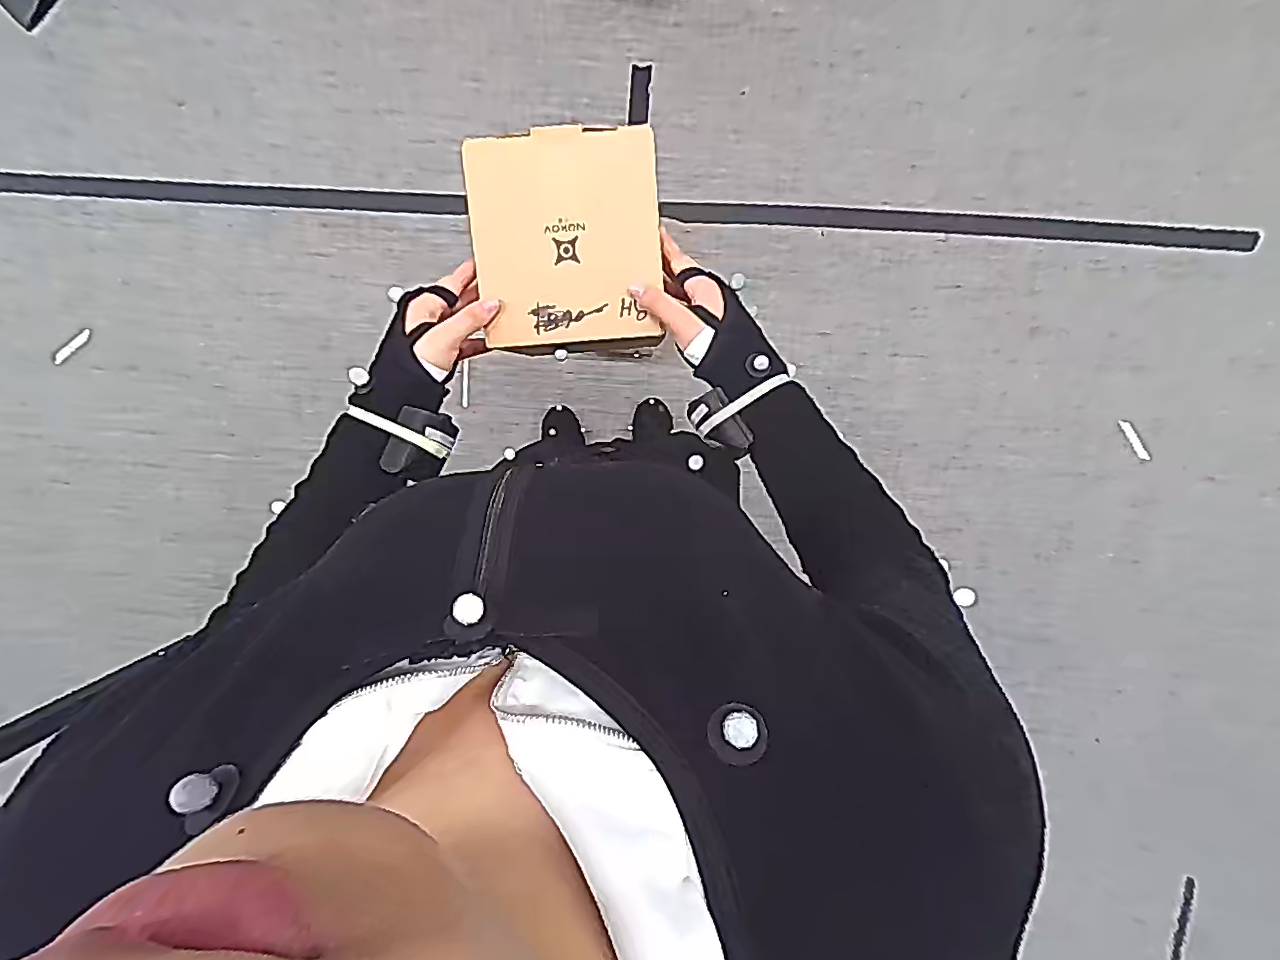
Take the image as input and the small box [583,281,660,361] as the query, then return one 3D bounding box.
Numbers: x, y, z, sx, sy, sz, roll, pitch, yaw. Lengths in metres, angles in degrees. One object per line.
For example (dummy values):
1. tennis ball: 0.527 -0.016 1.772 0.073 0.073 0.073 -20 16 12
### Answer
1. small box: -0.042 -0.394 1.362 0.179 0.176 0.168 4 96 2
